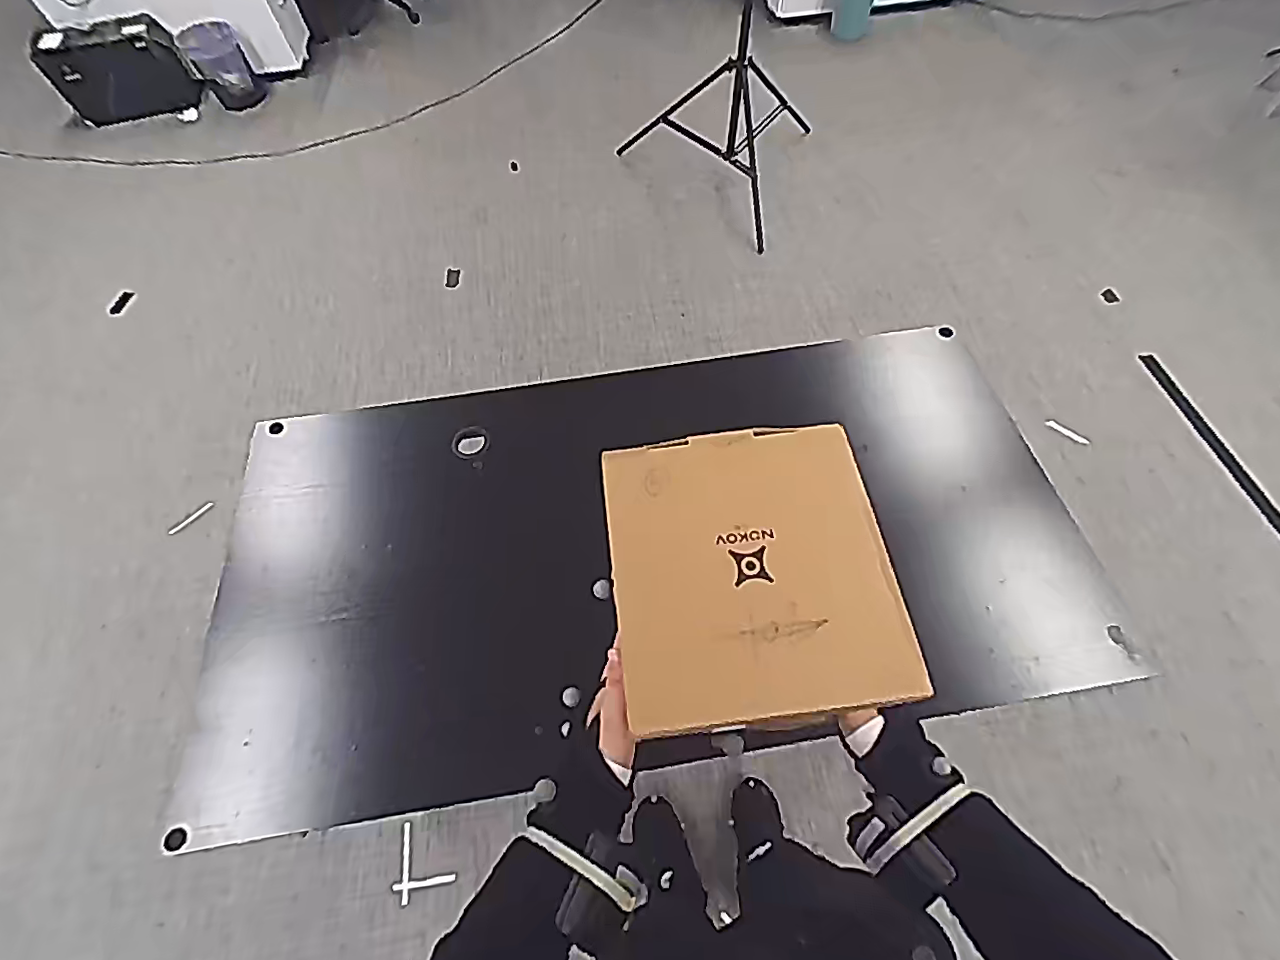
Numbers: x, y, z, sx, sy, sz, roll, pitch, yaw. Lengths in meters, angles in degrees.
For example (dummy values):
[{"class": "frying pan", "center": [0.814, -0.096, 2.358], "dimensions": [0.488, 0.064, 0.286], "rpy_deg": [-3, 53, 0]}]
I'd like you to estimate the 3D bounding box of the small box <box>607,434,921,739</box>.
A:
[{"class": "small box", "center": [0.067, 0.089, 0.405], "dimensions": [0.168, 0.176, 0.179], "rpy_deg": [-7, 65, -2]}]
